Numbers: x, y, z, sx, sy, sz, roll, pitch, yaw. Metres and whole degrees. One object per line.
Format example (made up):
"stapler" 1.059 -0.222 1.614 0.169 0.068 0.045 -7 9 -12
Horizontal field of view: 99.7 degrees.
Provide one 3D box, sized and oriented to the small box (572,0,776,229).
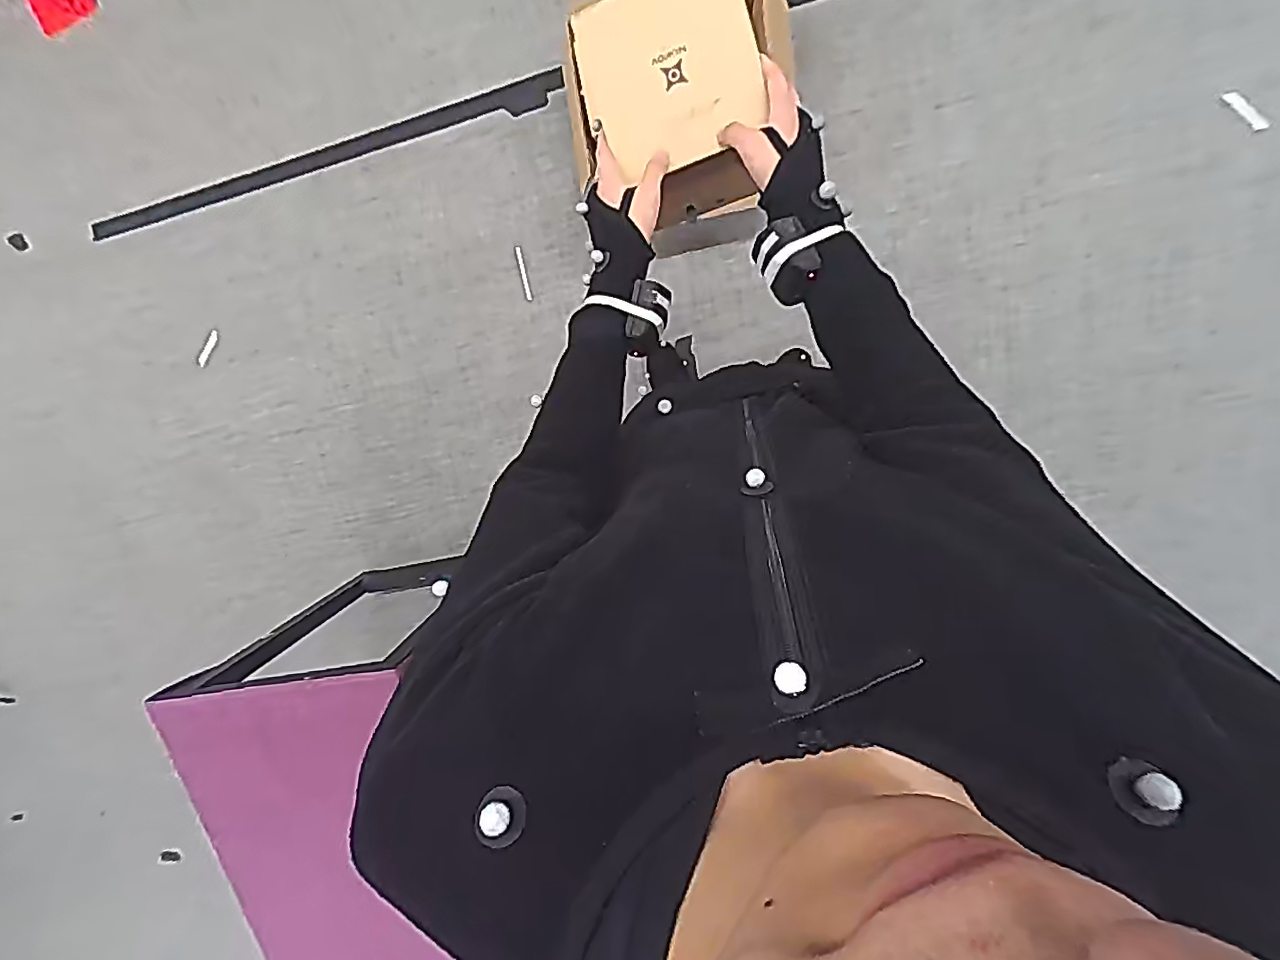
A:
"small box" 0.043 -0.418 0.611 0.168 0.176 0.179 -17 96 11
